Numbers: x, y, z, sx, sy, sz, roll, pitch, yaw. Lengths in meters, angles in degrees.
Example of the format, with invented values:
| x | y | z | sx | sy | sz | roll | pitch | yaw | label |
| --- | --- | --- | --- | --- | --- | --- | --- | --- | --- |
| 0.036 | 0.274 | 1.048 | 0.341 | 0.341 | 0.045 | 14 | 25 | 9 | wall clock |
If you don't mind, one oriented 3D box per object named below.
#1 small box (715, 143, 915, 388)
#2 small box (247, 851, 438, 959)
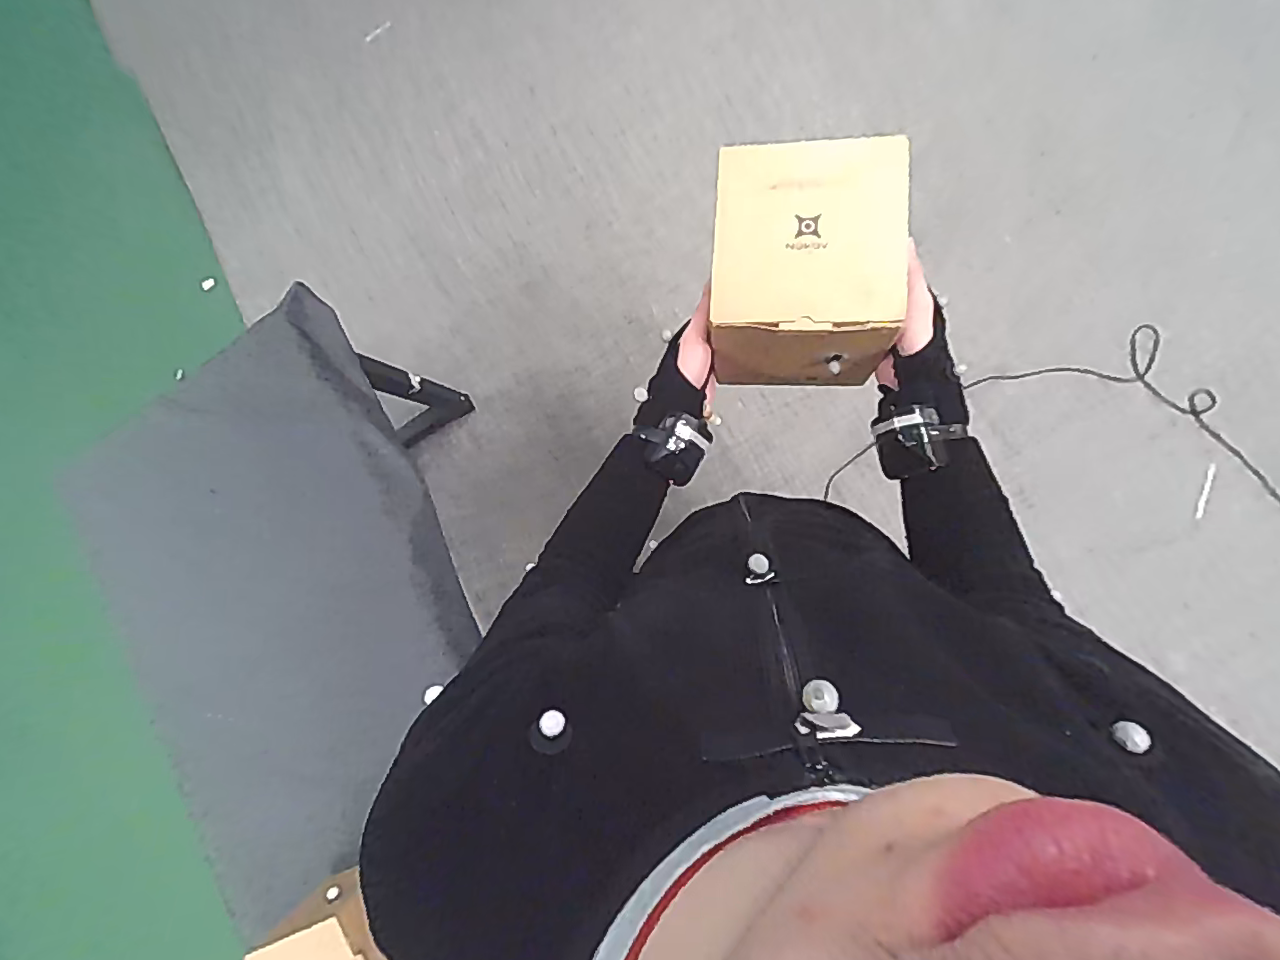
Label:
| x | y | z | sx | sy | sz | roll | pitch | yaw | label |
| --- | --- | --- | --- | --- | --- | --- | --- | --- | --- |
| 0.167 | -0.201 | 0.552 | 0.168 | 0.176 | 0.179 | 3 | 80 | 9 | small box |
| -0.437 | 0.717 | 0.827 | 0.179 | 0.176 | 0.168 | -28 | 82 | 7 | small box |
